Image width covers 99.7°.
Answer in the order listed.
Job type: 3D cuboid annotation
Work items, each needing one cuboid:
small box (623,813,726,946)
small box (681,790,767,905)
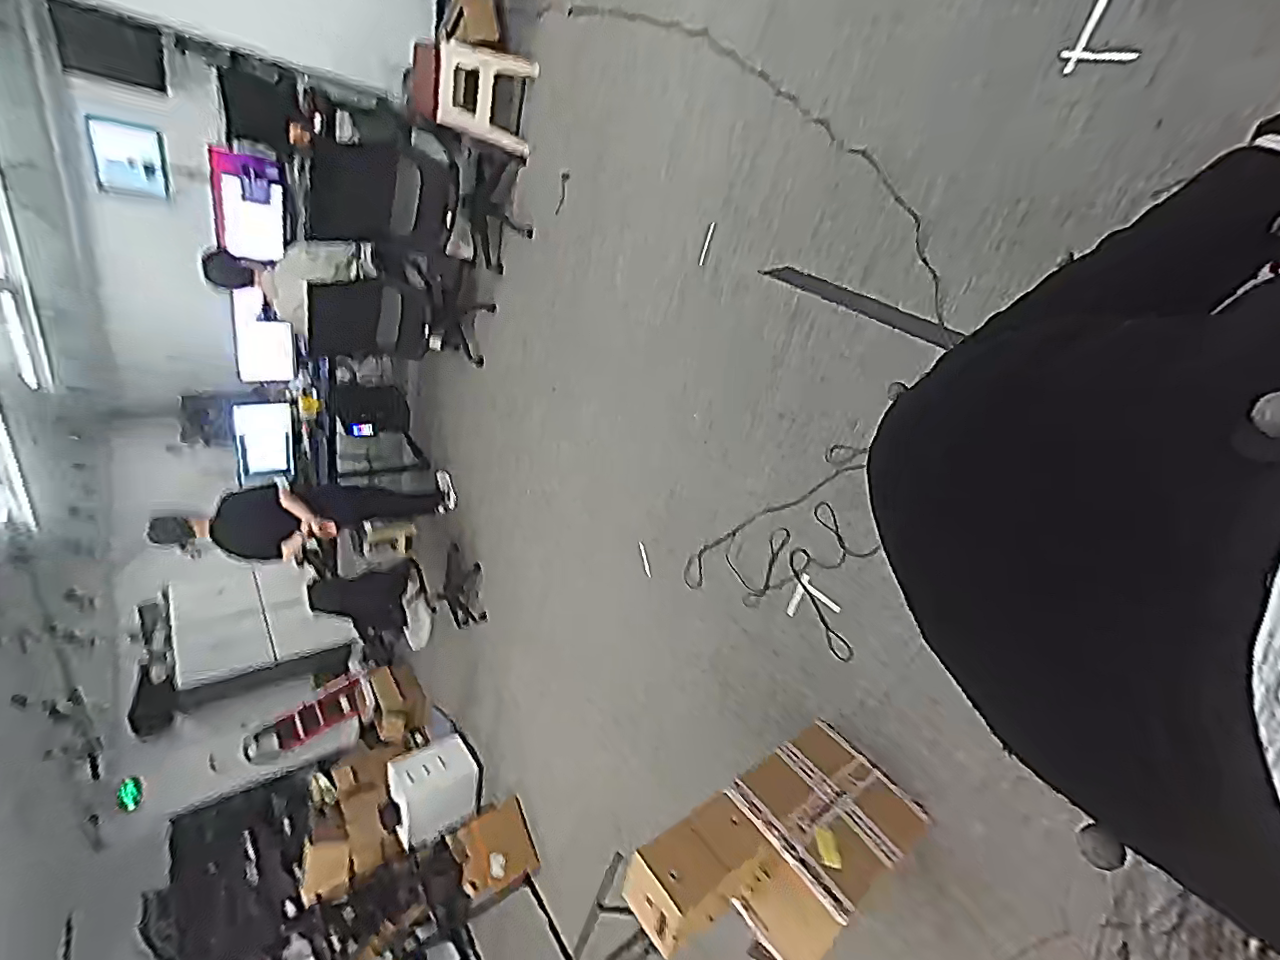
[{"bbox_3d":[0.088,0.986,1.352,0.179,0.176,0.168,33,117,42],"label":"small box"},{"bbox_3d":[0.210,0.979,1.464,0.179,0.176,0.168,33,118,43],"label":"small box"}]
